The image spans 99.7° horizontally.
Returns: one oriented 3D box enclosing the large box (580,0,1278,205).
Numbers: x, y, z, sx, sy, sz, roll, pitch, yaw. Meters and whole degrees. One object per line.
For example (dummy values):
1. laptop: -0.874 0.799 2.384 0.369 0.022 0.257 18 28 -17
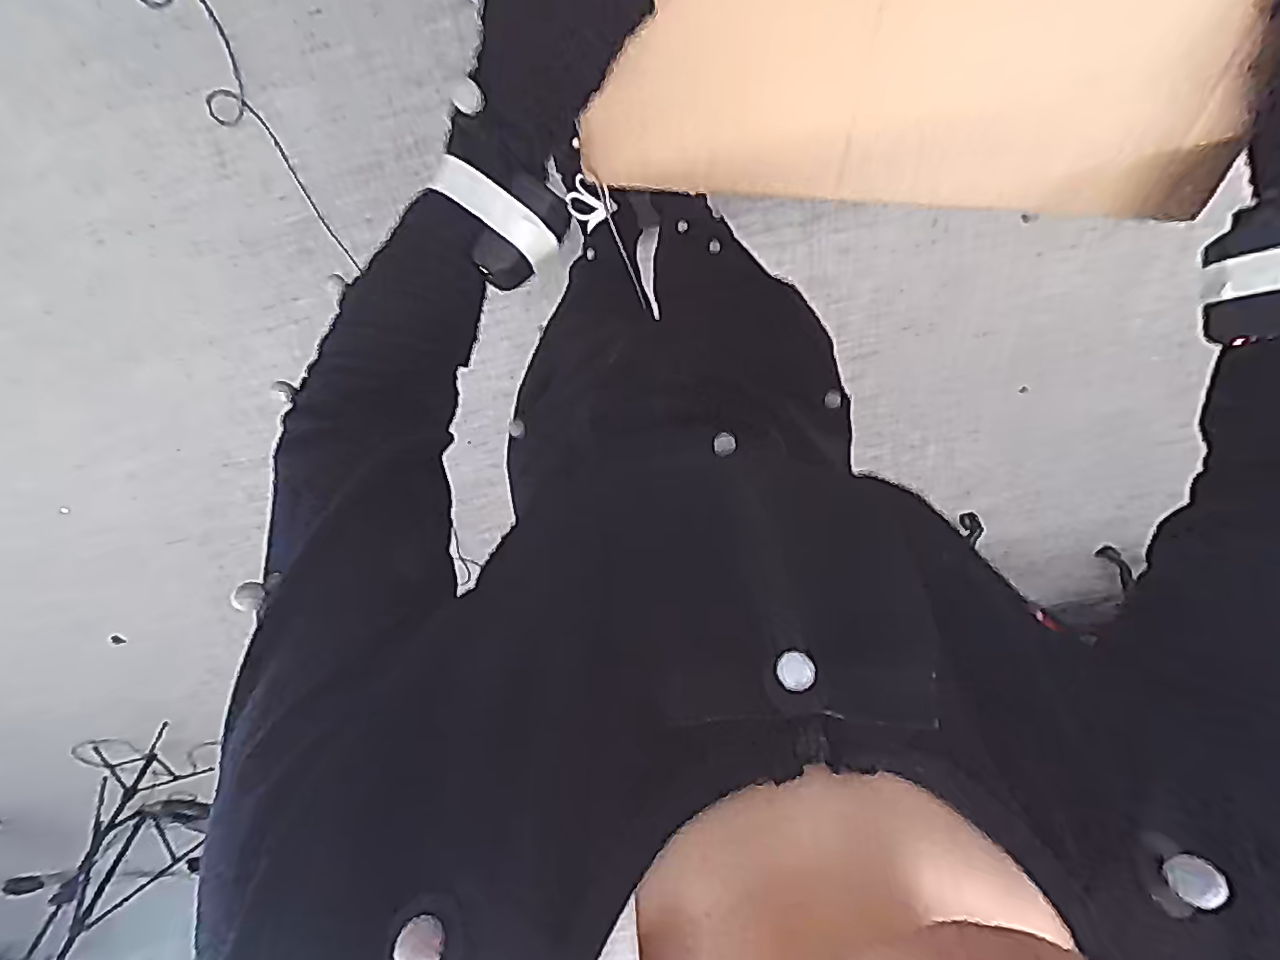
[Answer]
1. large box: 0.174 -0.413 0.391 0.408 0.320 0.320 4 128 0
